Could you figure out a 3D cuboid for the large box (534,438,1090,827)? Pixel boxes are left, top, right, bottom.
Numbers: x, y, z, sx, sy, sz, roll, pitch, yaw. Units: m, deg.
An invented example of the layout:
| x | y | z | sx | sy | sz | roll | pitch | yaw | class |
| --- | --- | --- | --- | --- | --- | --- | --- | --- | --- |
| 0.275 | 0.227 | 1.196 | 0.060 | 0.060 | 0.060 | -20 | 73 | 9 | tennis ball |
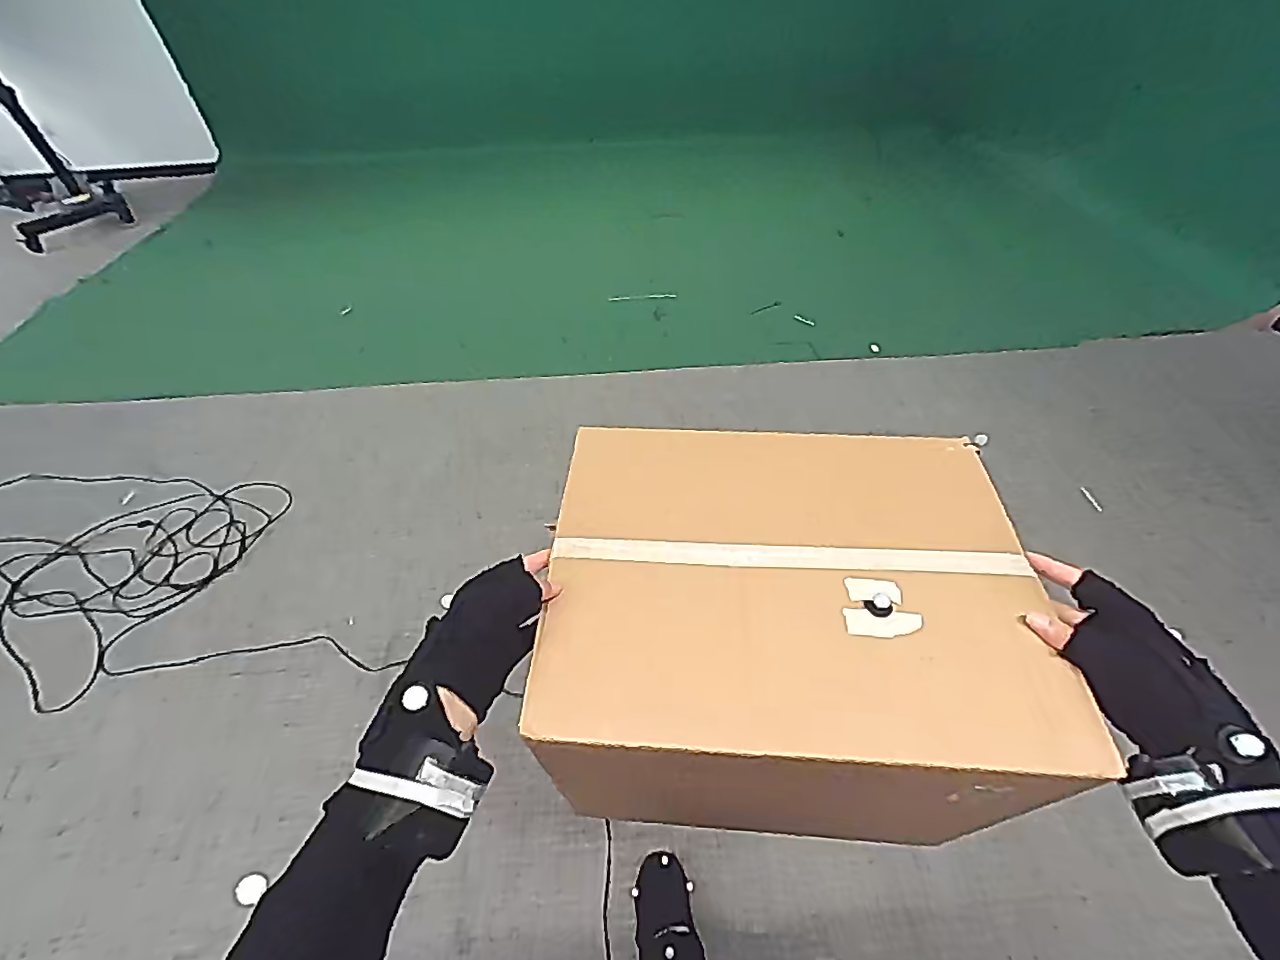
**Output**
| x | y | z | sx | sy | sz | roll | pitch | yaw | class |
| --- | --- | --- | --- | --- | --- | --- | --- | --- | --- |
| 0.128 | 0.169 | 0.594 | 0.408 | 0.320 | 0.320 | 1 | 50 | 4 | large box |
